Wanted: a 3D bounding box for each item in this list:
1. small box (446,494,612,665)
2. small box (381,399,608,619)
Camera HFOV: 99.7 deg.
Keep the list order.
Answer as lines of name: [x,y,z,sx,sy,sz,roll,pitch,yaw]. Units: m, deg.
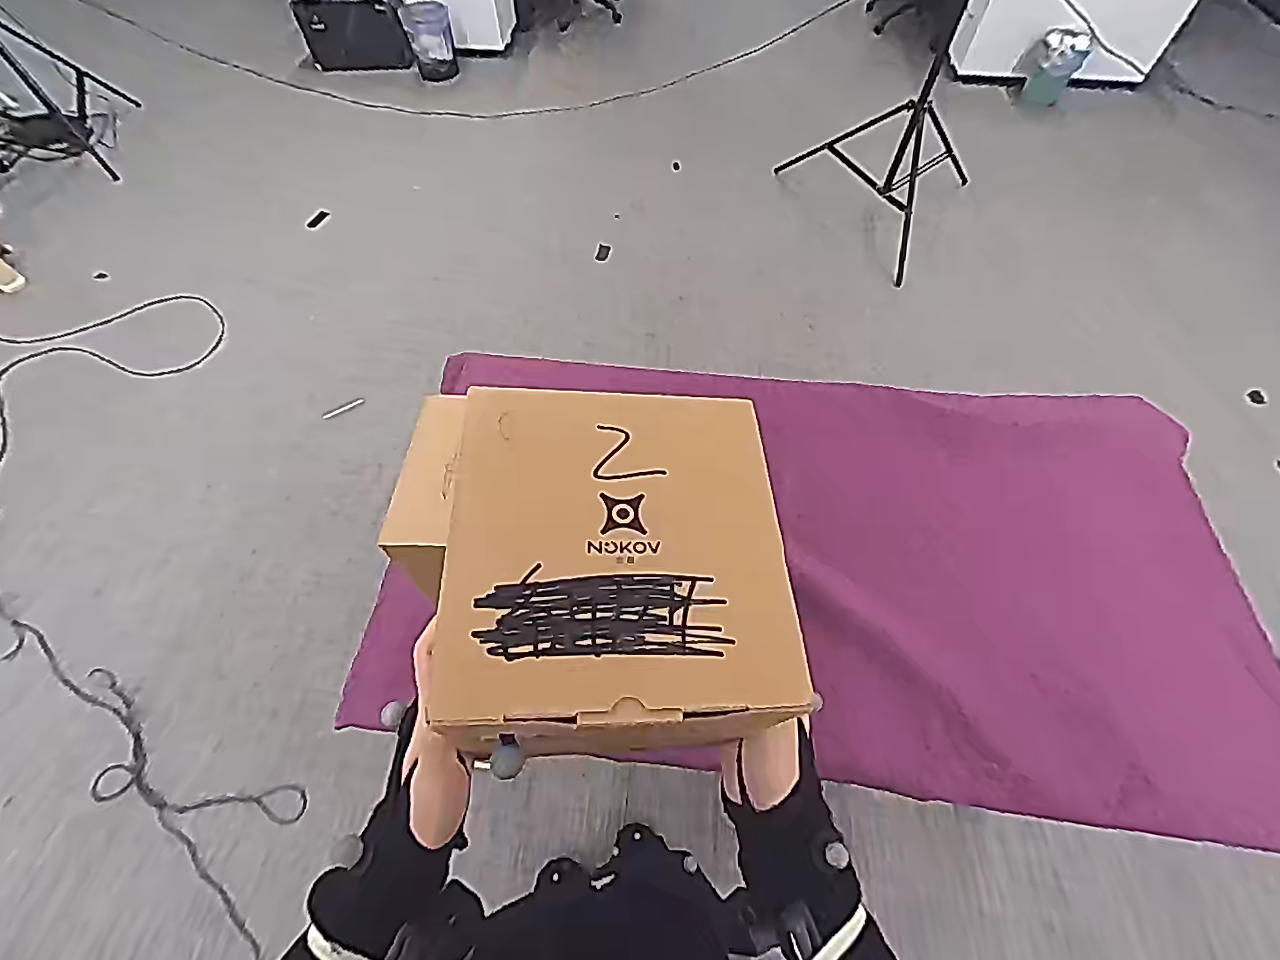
small box: [-0.126,0.123,0.692,0.168,0.176,0.179,3,58,2]
small box: [-0.126,0.036,0.556,0.179,0.176,0.168,1,56,1]
